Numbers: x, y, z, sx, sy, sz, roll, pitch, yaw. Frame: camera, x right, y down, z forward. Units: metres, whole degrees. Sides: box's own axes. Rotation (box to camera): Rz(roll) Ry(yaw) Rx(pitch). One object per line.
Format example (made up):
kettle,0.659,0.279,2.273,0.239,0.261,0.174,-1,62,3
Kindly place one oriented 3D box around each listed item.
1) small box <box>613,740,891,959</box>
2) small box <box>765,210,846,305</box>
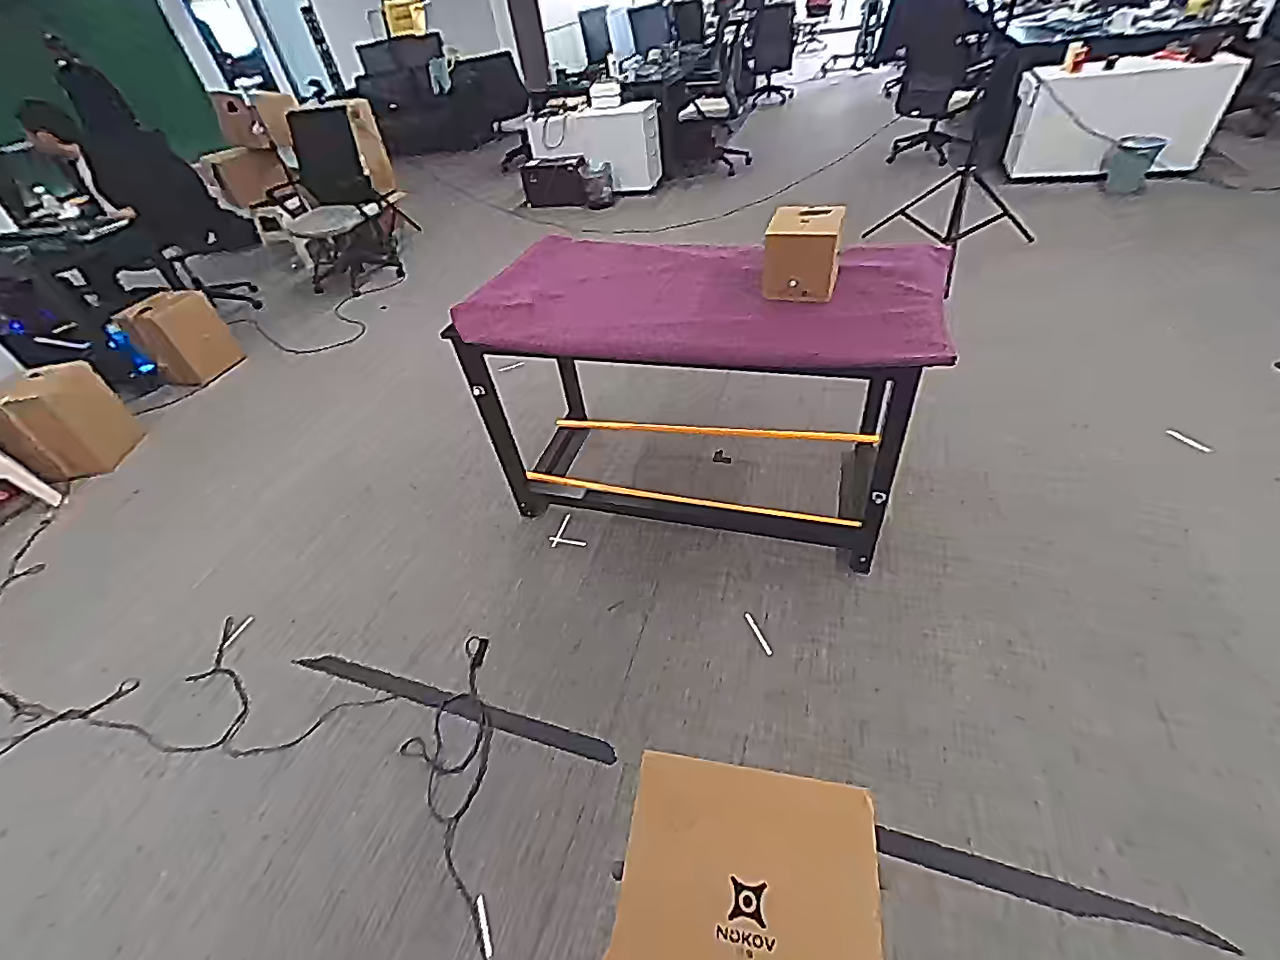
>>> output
small box,0.081,0.322,0.402,0.168,0.176,0.179,3,50,13
small box,0.412,-0.562,1.360,0.168,0.176,0.179,10,47,20
